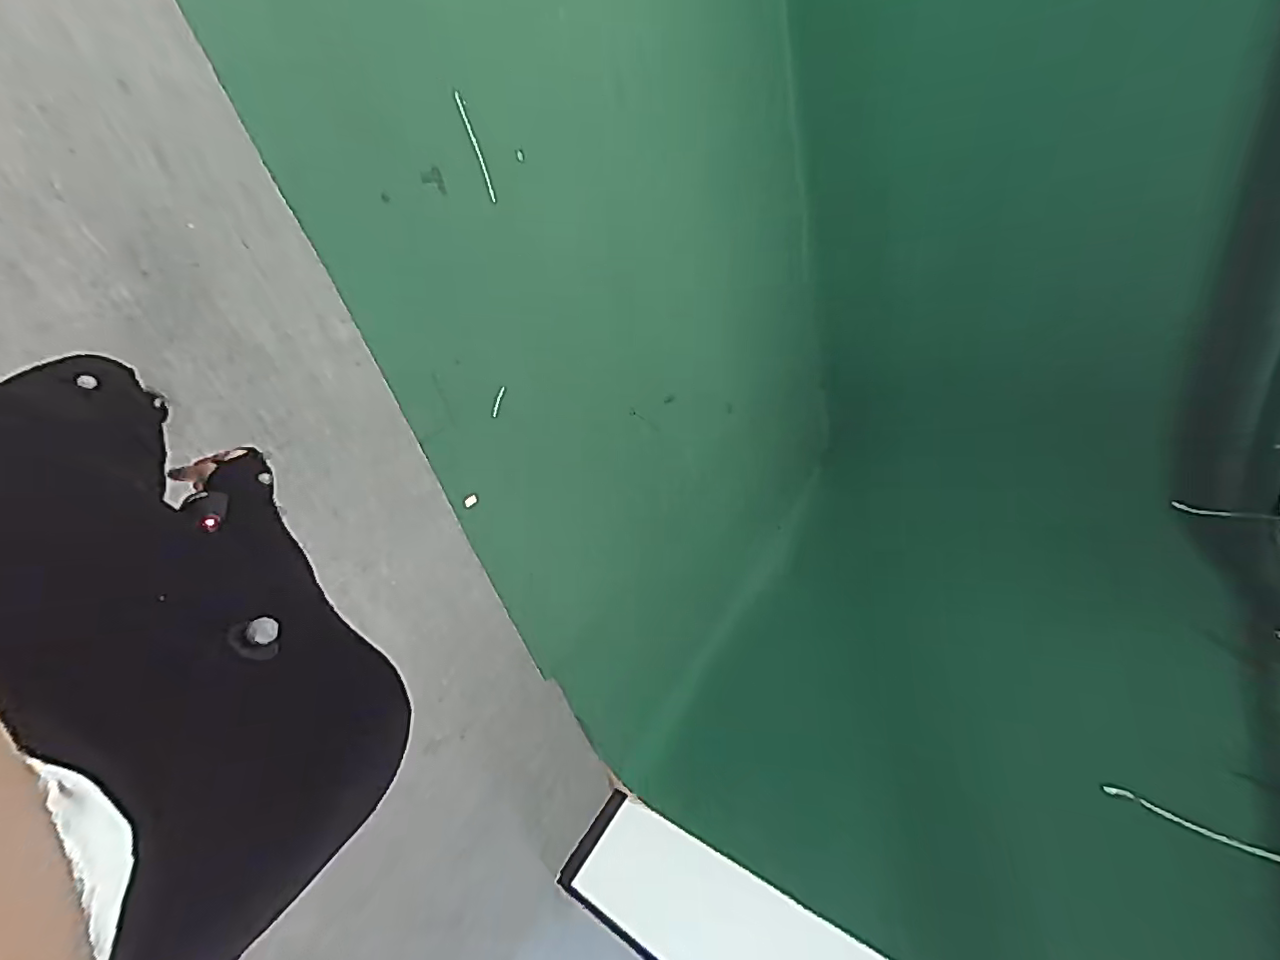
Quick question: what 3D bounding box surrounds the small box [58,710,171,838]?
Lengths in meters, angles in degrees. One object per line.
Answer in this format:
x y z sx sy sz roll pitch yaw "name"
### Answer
-1.153 0.651 1.223 0.168 0.176 0.179 -44 129 -38 "small box"
